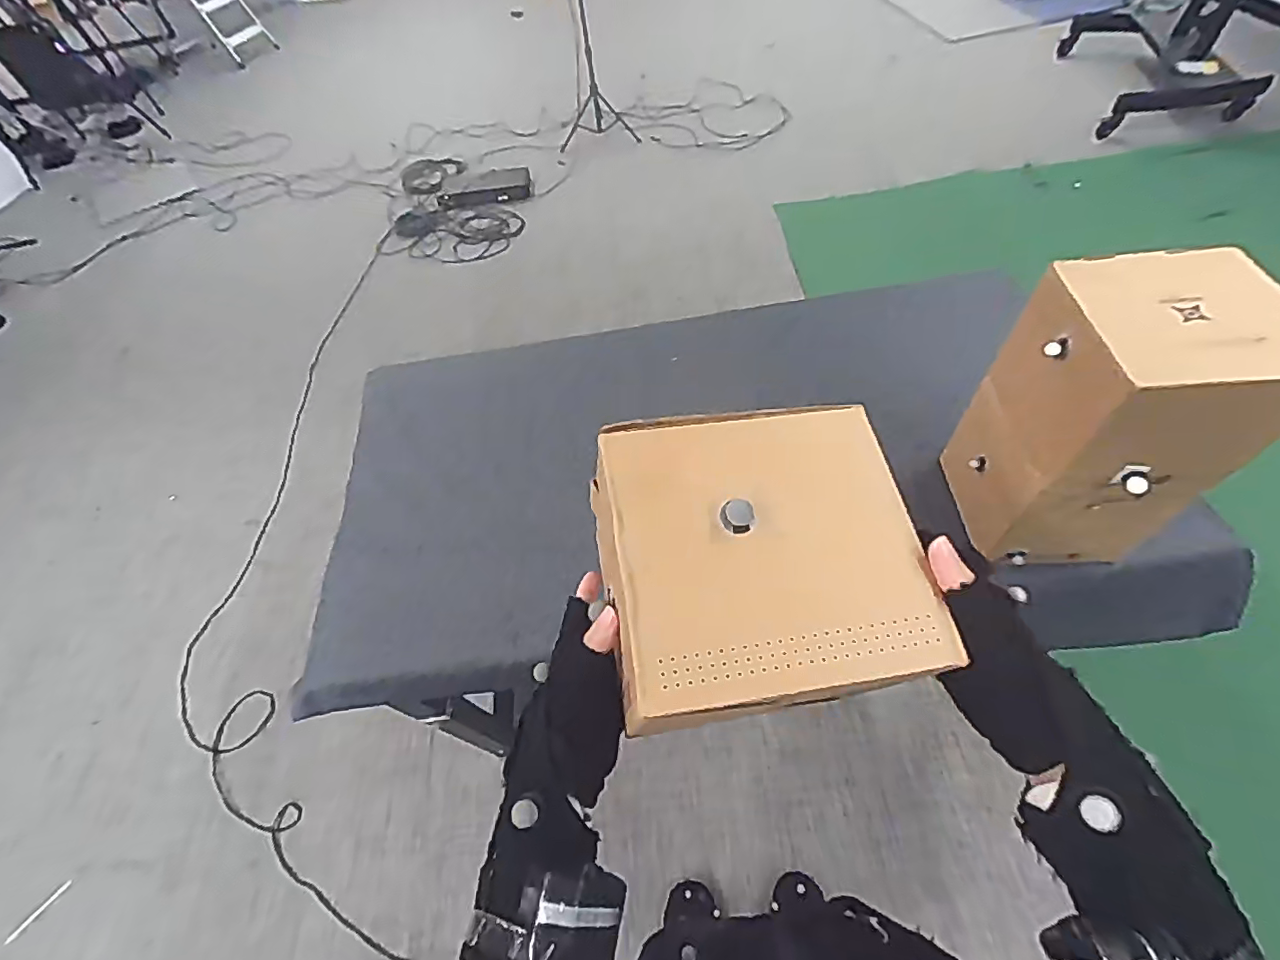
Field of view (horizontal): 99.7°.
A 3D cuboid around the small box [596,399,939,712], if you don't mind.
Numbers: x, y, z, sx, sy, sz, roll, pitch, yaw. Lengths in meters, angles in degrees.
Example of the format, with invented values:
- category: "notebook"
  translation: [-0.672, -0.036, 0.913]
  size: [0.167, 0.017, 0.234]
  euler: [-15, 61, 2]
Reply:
- category: "small box"
  translation: [0.067, 0.065, 0.387]
  size: [0.179, 0.168, 0.176]
  euler: [-7, 65, -8]

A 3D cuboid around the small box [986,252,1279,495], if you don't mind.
- category: "small box"
  translation: [0.490, -0.102, 0.550]
  size: [0.168, 0.176, 0.179]
  euler: [-3, 56, 7]

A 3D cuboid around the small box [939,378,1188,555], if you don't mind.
- category: "small box"
  translation: [0.511, -0.014, 0.685]
  size: [0.168, 0.176, 0.179]
  euler: [-2, 54, 6]
